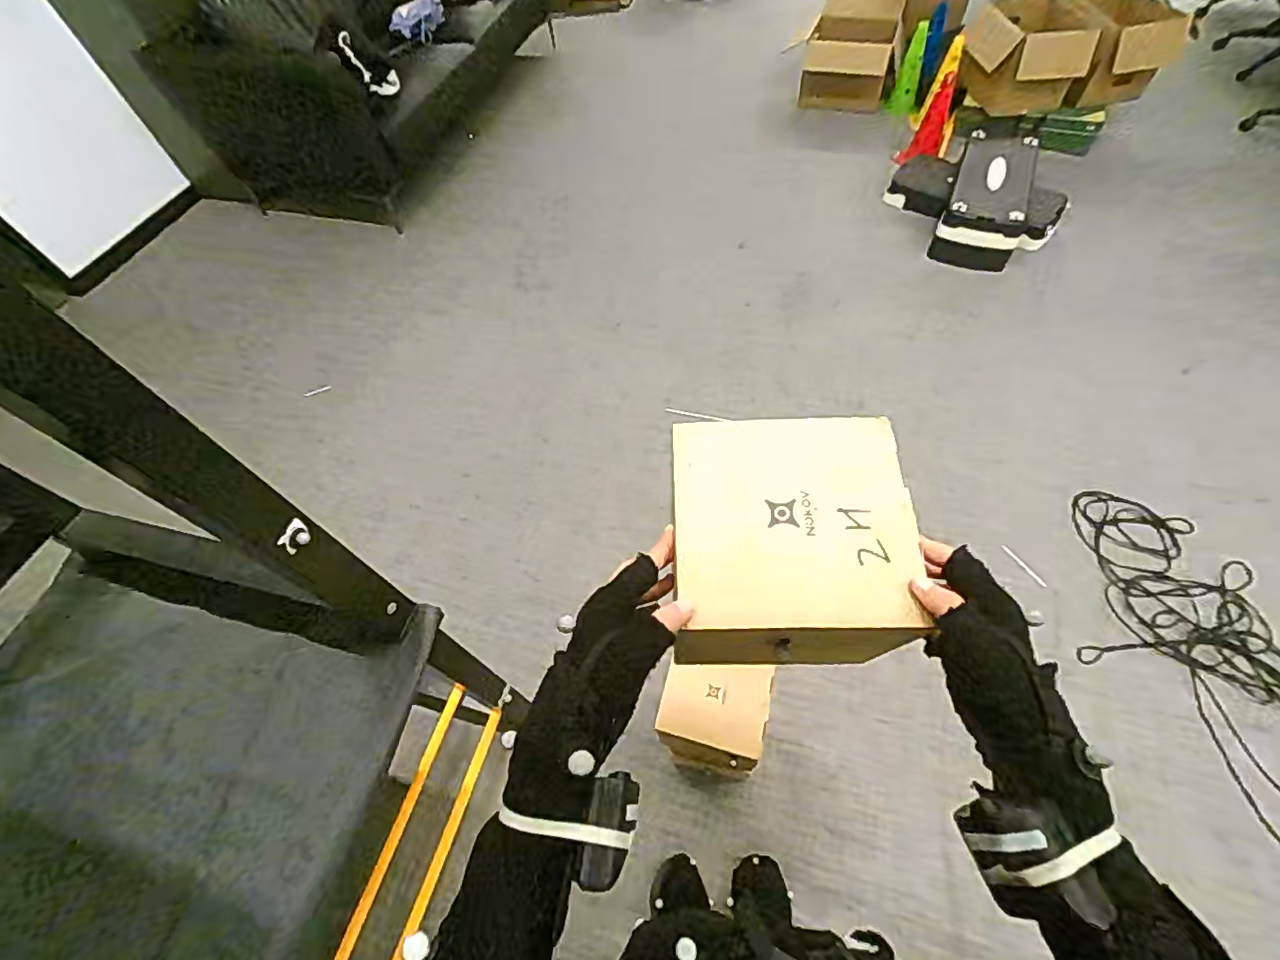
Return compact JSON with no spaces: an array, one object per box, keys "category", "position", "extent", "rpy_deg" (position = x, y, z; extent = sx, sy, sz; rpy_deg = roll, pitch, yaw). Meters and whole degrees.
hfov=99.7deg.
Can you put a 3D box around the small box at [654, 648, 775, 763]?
[{"category":"small box","position":[0.135,0.393,0.968],"extent":[0.179,0.176,0.168],"rpy_deg":[11,60,13]}]

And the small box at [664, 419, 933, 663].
[{"category":"small box","position":[0.112,0.062,0.463],"extent":[0.179,0.176,0.168],"rpy_deg":[-1,65,3]}]
